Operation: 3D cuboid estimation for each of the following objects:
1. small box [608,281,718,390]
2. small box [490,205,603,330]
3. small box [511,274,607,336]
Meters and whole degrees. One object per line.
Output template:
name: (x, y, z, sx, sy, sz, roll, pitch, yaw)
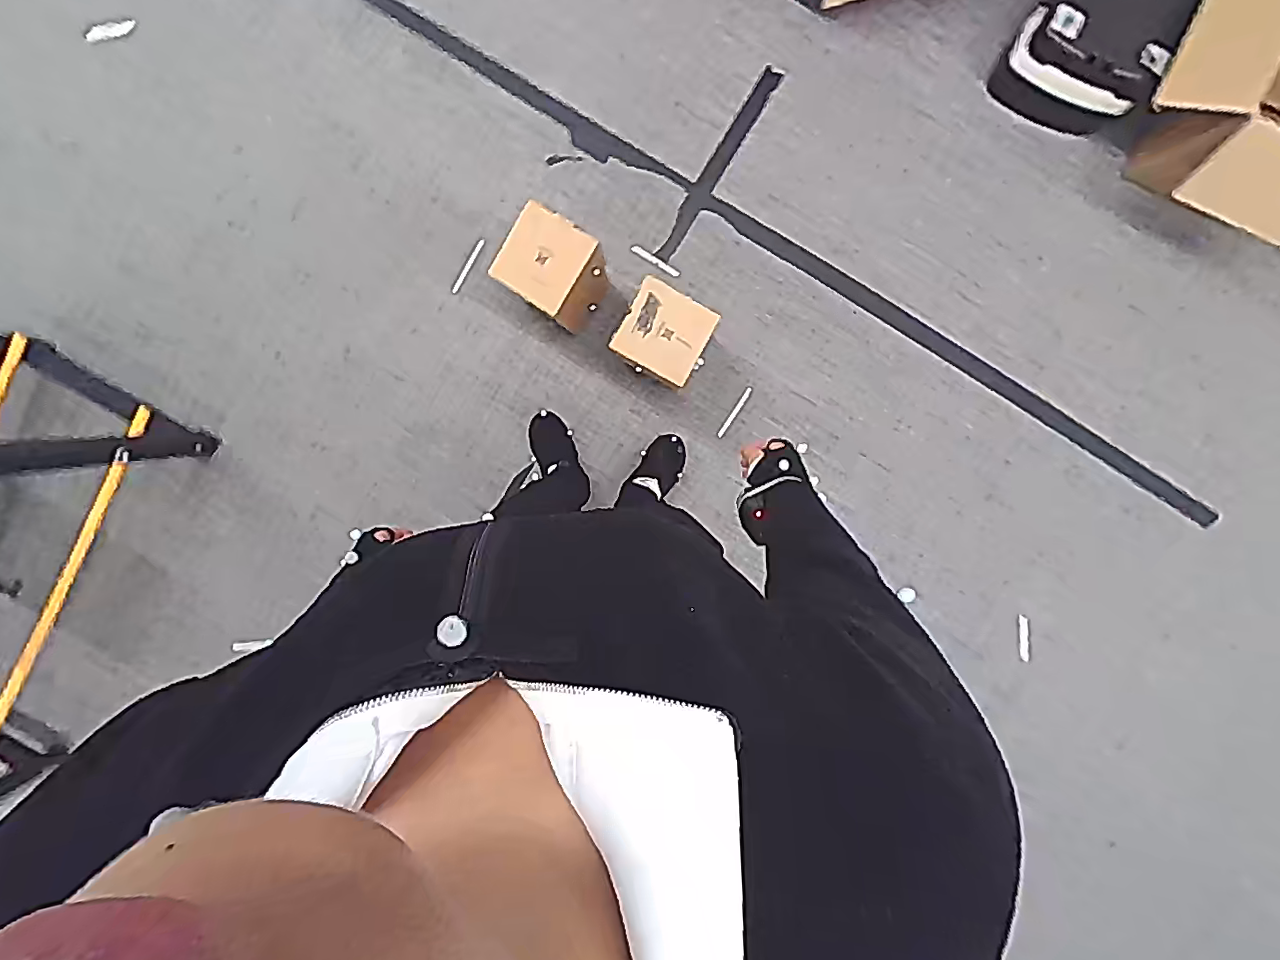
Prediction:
small box: (0.049, -0.307, 1.196, 0.179, 0.176, 0.168, 30, 97, -2)
small box: (-0.195, -0.455, 1.187, 0.168, 0.176, 0.179, 32, 99, -1)
small box: (-0.197, -0.475, 1.349, 0.179, 0.176, 0.168, 34, 97, -2)
